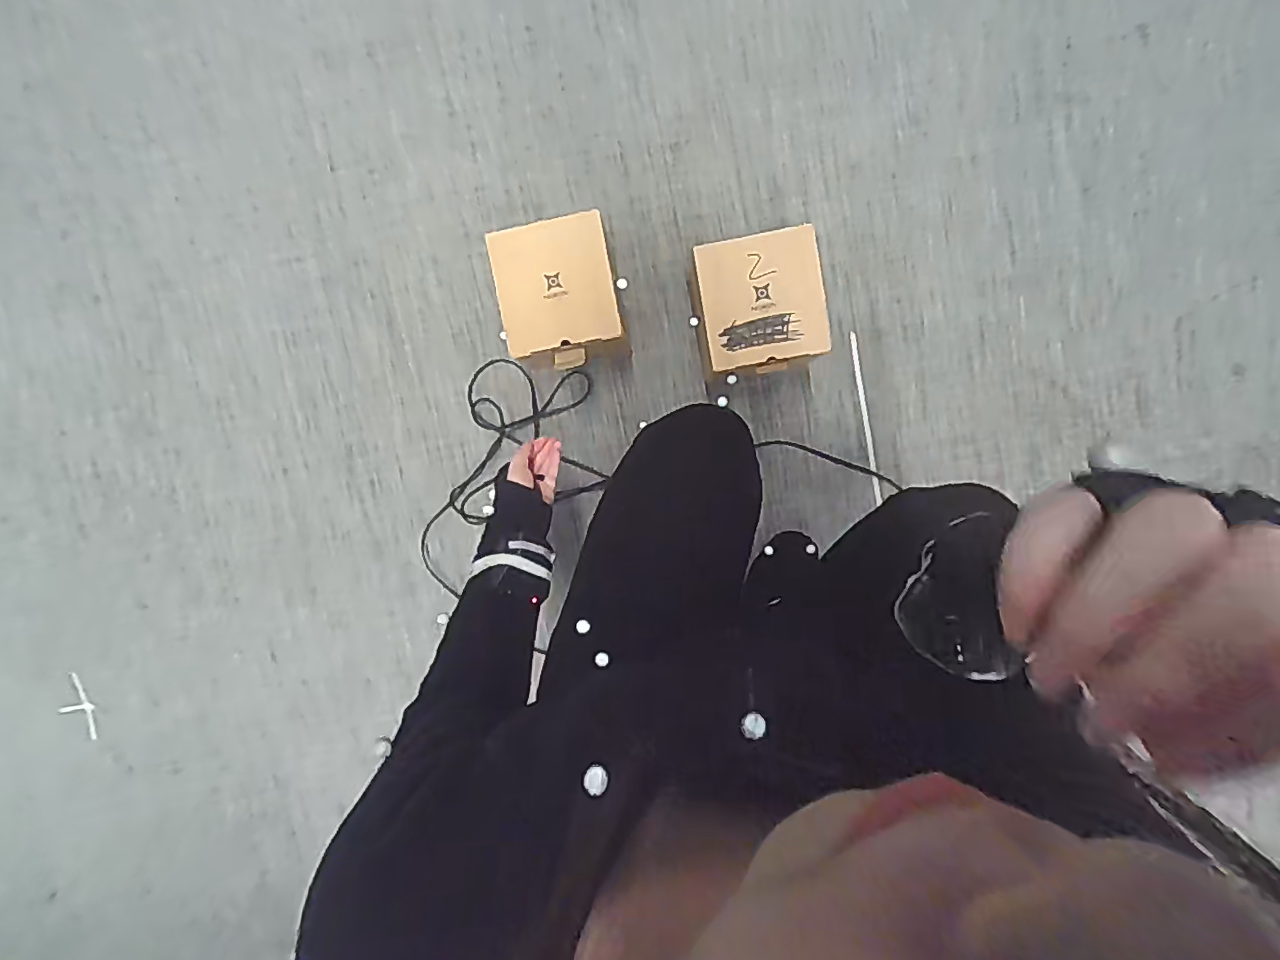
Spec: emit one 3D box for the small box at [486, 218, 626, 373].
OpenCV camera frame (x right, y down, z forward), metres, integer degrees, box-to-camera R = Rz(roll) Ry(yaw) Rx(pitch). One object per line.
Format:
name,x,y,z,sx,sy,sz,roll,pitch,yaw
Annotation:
small box,-0.119,-0.274,0.839,0.168,0.176,0.179,-10,95,4
